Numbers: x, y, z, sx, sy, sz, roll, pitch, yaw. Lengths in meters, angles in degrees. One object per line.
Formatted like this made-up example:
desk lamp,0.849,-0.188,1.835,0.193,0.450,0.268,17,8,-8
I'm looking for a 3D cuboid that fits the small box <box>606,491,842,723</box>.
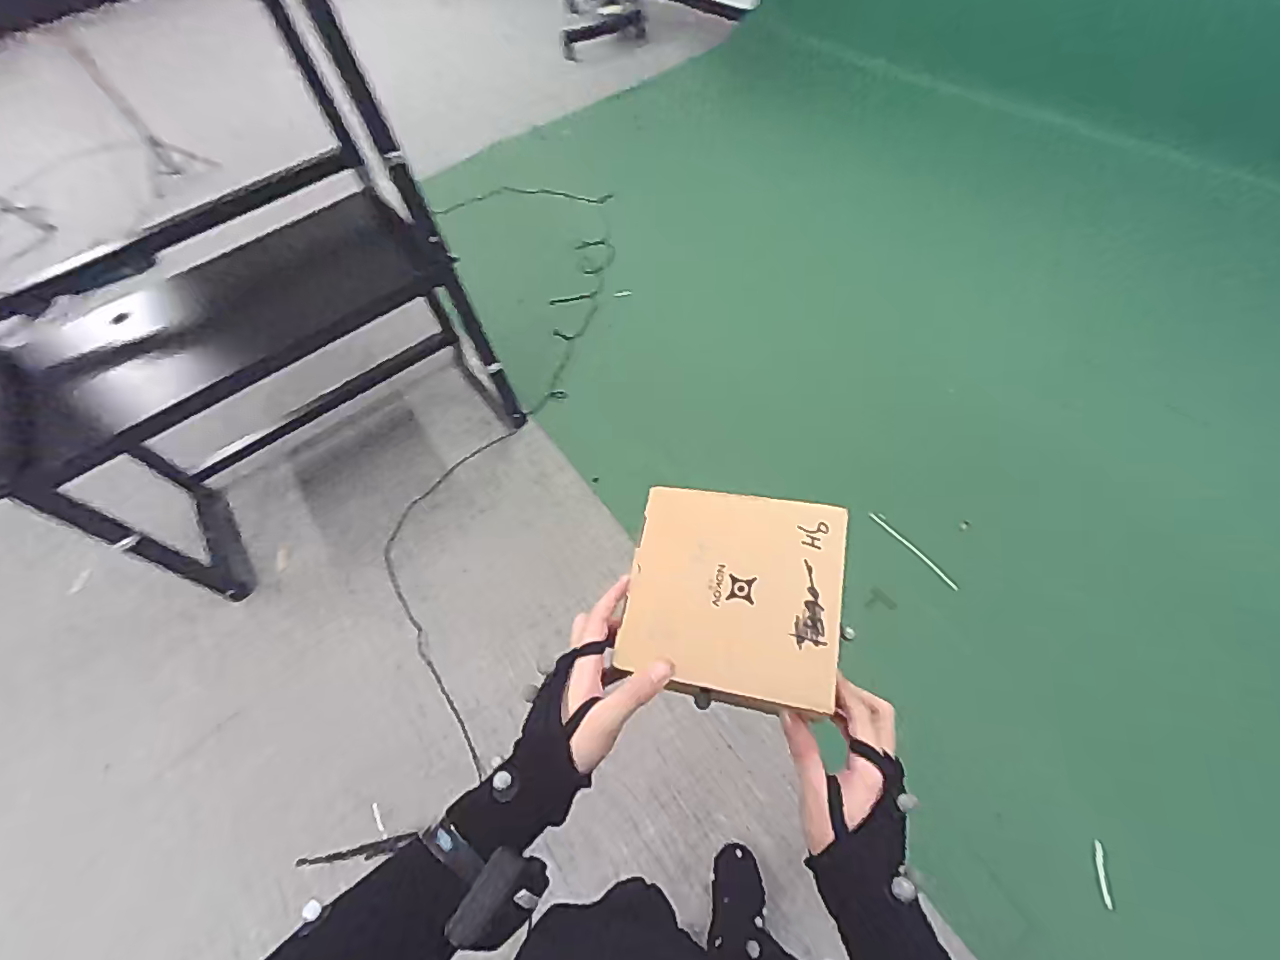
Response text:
small box,0.089,0.126,0.518,0.179,0.176,0.168,6,65,17
